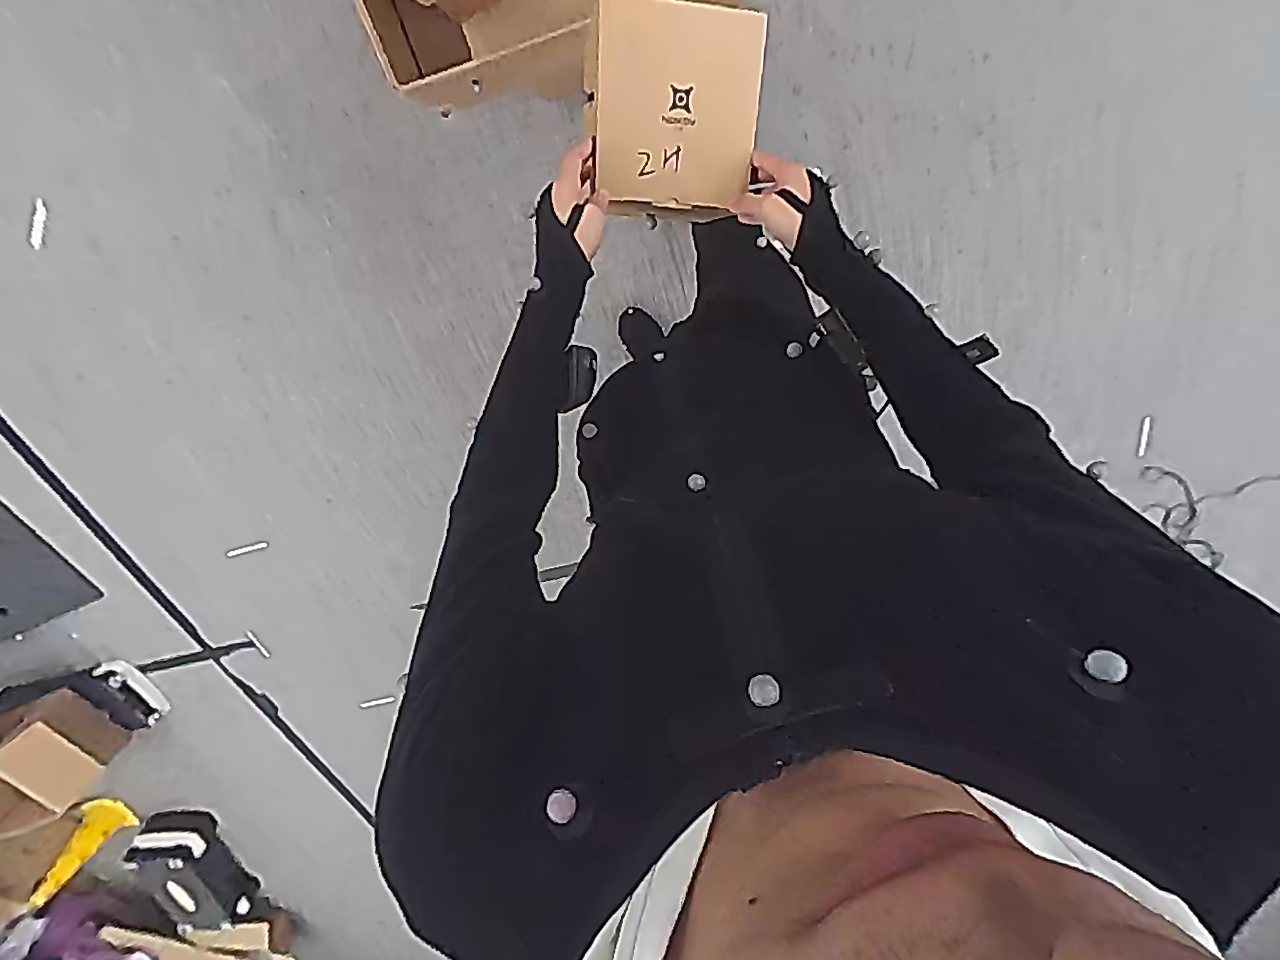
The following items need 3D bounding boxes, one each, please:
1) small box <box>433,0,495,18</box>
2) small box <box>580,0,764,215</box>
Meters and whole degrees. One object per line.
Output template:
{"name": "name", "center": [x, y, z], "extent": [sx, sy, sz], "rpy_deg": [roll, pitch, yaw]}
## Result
{"name": "small box", "center": [-0.246, -0.790, 0.743], "extent": [0.179, 0.176, 0.168], "rpy_deg": [-19, 116, 10]}
{"name": "small box", "center": [0.021, -0.407, 0.608], "extent": [0.168, 0.176, 0.179], "rpy_deg": [-1, 112, -11]}
